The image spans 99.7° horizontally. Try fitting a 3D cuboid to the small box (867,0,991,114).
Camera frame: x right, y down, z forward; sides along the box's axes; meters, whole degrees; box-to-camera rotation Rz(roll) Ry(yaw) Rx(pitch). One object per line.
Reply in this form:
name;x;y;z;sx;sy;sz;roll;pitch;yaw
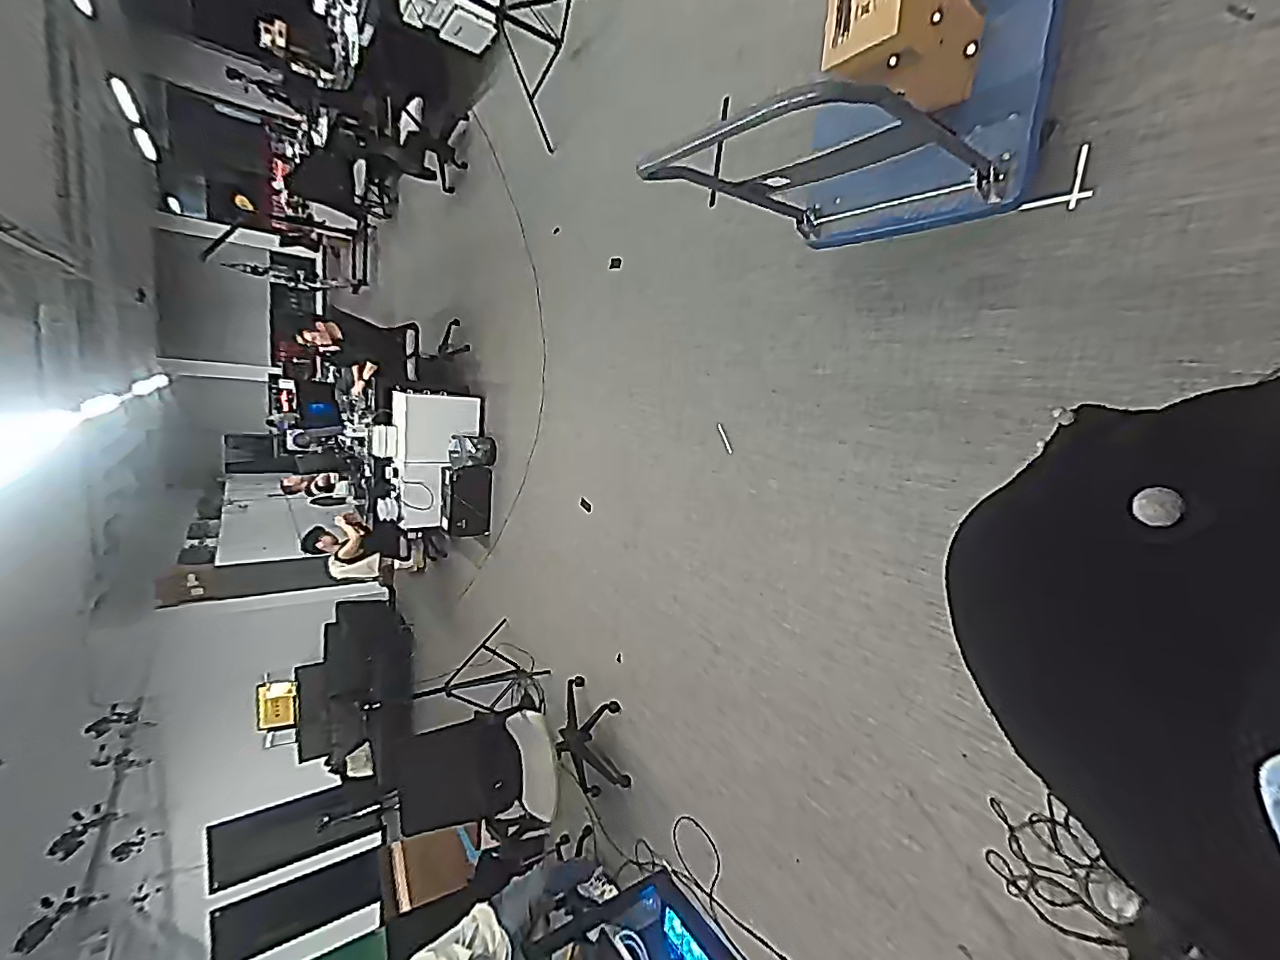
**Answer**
small box;0.657;-0.973;1.235;0.179;0.176;0.168;22;110;51
